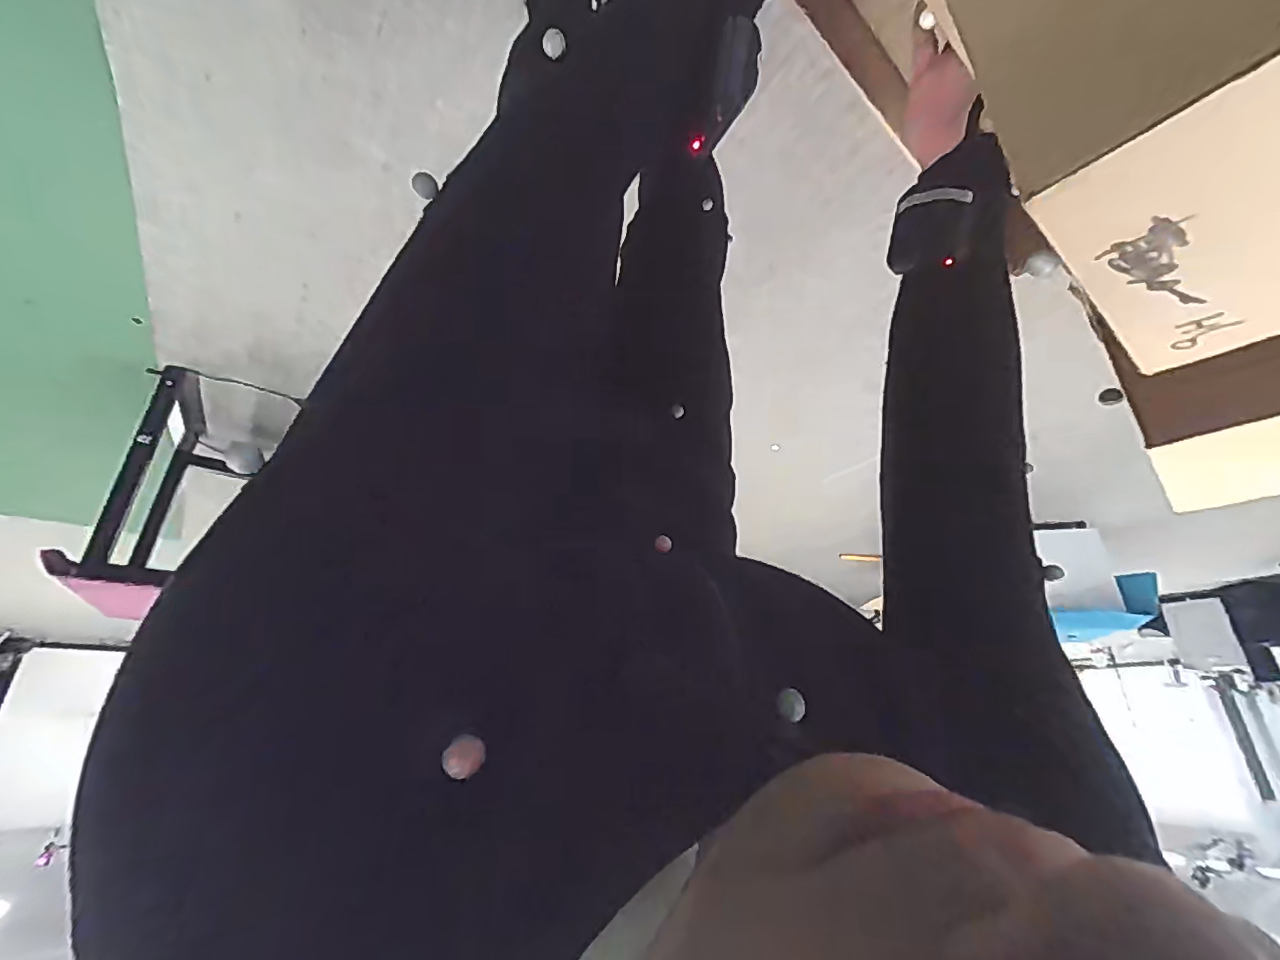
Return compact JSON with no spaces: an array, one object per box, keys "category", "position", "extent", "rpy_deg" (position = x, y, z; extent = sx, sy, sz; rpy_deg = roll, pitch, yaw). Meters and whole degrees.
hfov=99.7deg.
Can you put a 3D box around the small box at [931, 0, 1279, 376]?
[{"category":"small box","position":[0.249,-0.177,0.210],"extent":[0.168,0.176,0.179],"rpy_deg":[20,149,-33]}]

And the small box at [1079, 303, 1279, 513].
[{"category":"small box","position":[0.457,-0.096,0.394],"extent":[0.168,0.176,0.179],"rpy_deg":[22,148,-37]}]
